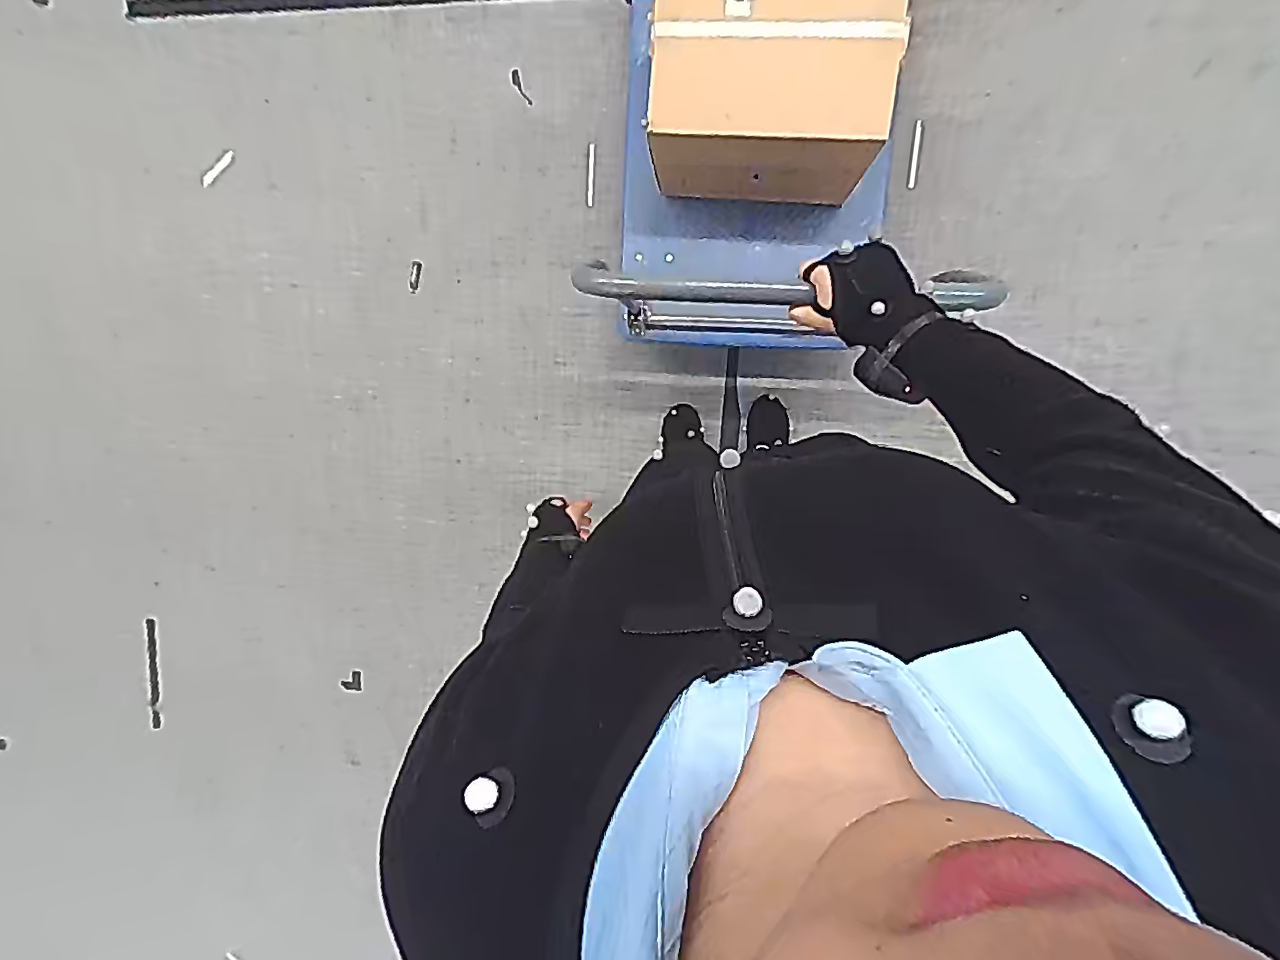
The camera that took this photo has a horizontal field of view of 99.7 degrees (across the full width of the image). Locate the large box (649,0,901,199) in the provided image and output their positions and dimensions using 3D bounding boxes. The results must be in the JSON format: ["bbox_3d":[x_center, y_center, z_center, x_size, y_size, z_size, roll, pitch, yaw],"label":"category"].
[{"bbox_3d":[0.243,-0.759,1.046,0.408,0.320,0.320,6,98,7],"label":"large box"}]
